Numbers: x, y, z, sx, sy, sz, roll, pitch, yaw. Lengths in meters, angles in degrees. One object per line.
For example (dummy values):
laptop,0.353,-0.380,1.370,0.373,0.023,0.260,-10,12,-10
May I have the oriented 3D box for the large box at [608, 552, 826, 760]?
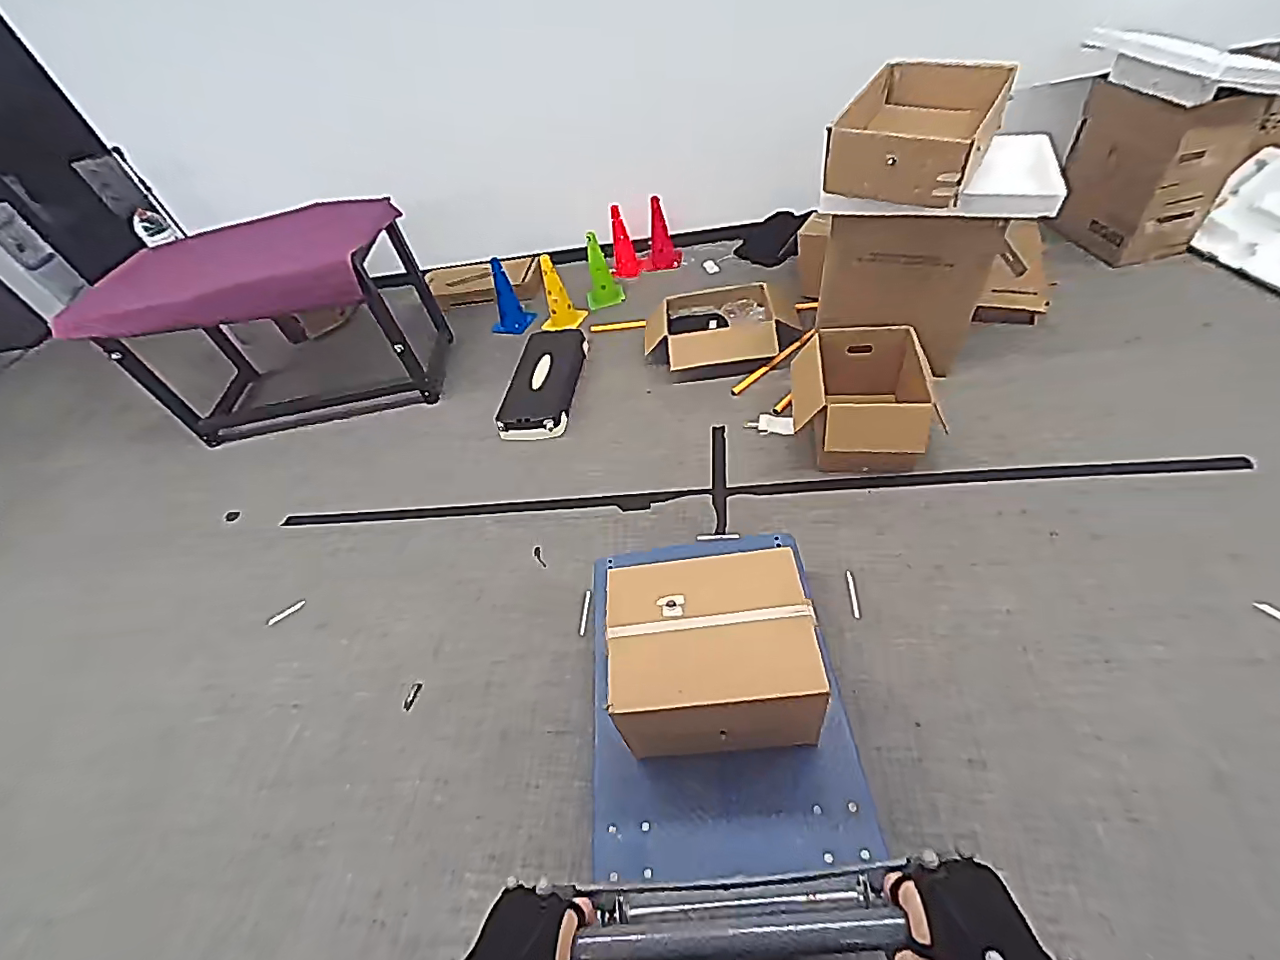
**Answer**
large box,0.160,0.396,1.194,0.408,0.320,0.320,-9,47,6
